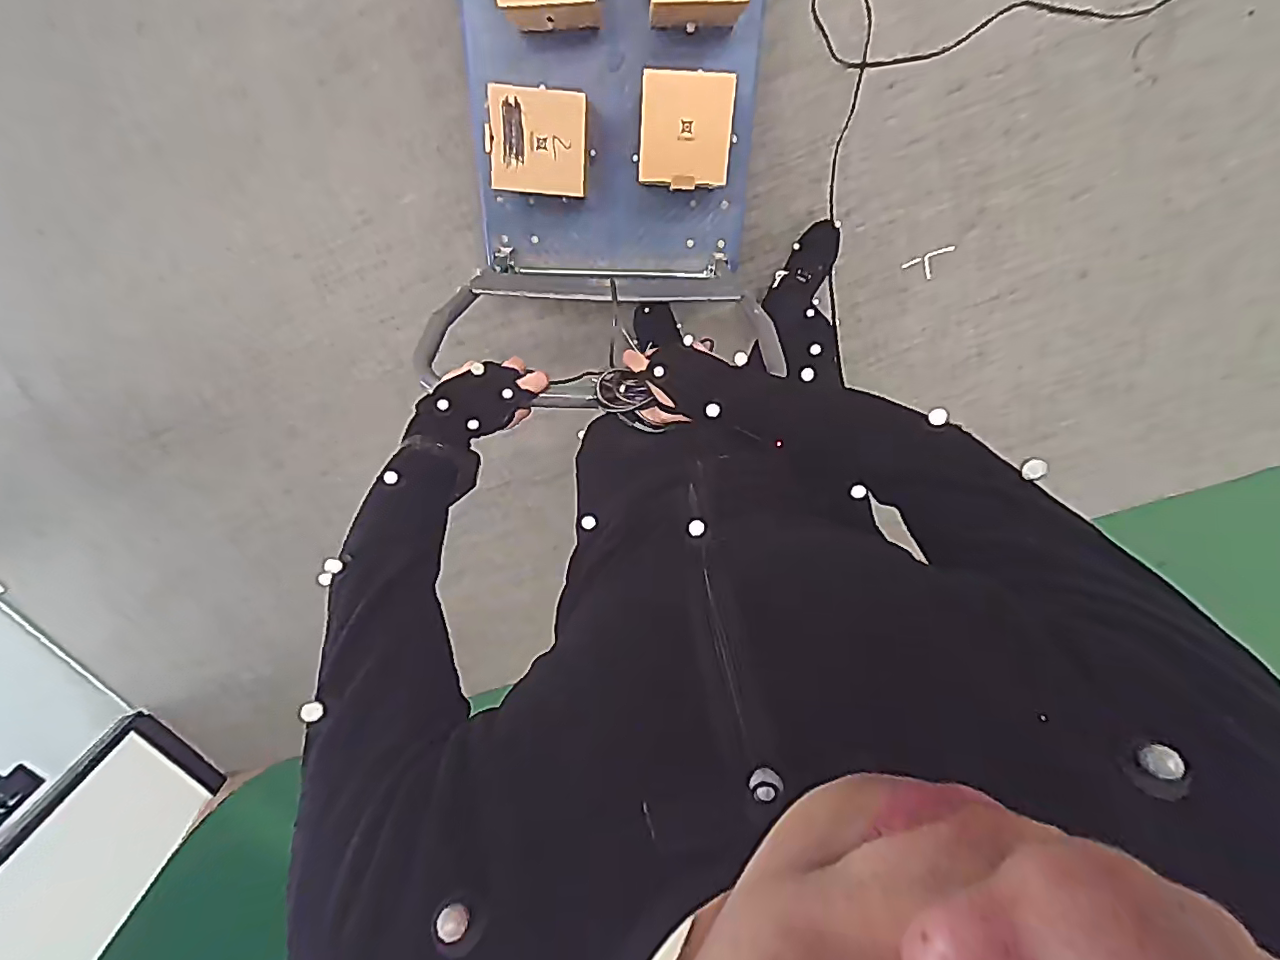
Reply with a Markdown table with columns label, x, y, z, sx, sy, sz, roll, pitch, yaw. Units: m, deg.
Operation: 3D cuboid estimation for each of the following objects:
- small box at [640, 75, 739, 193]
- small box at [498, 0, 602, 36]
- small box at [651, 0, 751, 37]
| label | x | y | z | sx | sy | sz | roll | pitch | yaw |
| --- | --- | --- | --- | --- | --- | --- | --- | --- | --- |
| small box | 0.087 | -0.663 | 1.053 | 0.168 | 0.176 | 0.179 | 2 | 119 | -1 |
| small box | -0.155 | -0.890 | 0.930 | 0.168 | 0.176 | 0.179 | -2 | 118 | 1 |
| small box | 0.102 | -0.894 | 0.928 | 0.168 | 0.176 | 0.179 | 0 | 119 | 1 |
